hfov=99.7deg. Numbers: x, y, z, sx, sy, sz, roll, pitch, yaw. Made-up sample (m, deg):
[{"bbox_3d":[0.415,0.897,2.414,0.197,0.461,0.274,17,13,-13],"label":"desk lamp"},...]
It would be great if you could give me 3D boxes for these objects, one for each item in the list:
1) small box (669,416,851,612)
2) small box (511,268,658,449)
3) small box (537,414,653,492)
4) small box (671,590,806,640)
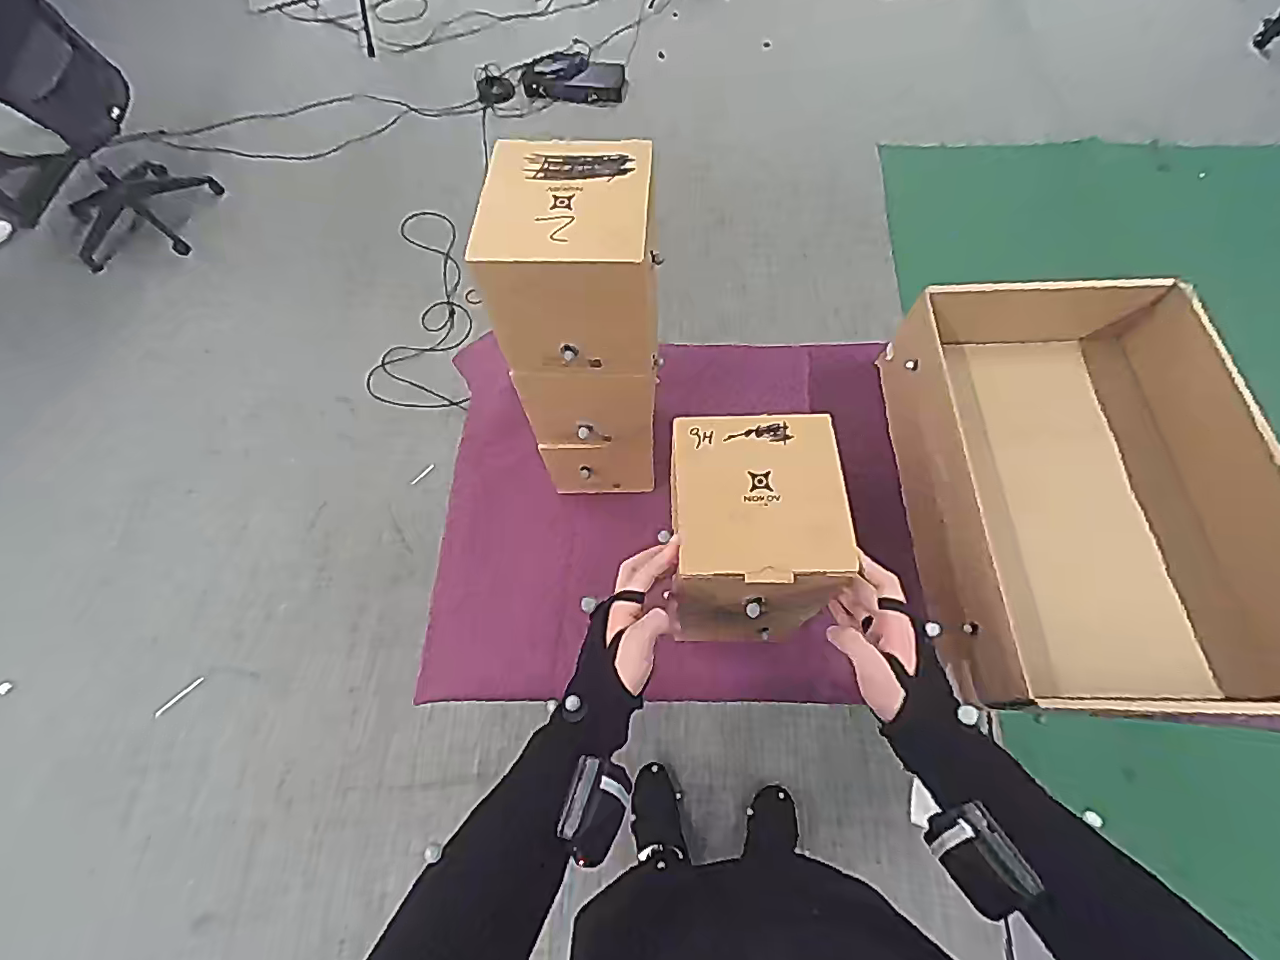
[{"bbox_3d":[0.117,0.046,0.602,0.168,0.176,0.179,0,64,2],"label":"small box"},{"bbox_3d":[-0.063,-0.163,0.742,0.168,0.176,0.179,3,64,4],"label":"small box"},{"bbox_3d":[-0.063,-0.087,0.888,0.168,0.176,0.179,-1,63,2],"label":"small box"},{"bbox_3d":[0.130,0.126,0.772,0.168,0.176,0.179,1,62,2],"label":"small box"}]
